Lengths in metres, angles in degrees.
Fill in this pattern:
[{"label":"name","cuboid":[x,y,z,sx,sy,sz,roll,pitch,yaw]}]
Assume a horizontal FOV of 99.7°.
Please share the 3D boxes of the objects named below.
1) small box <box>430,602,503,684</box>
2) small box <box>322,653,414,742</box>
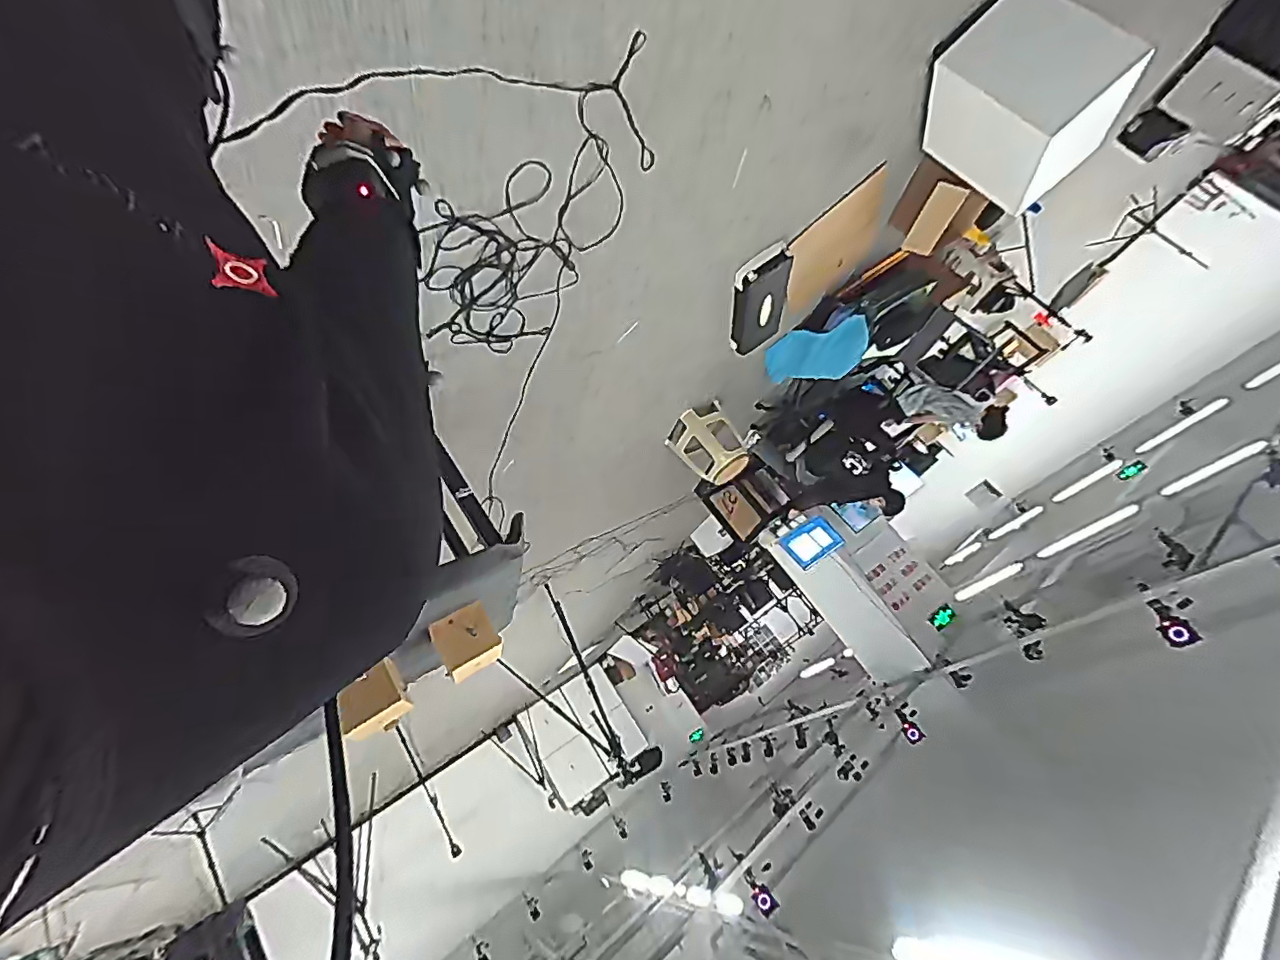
[{"label":"small box","cuboid":[-0.551,0.513,1.716,0.168,0.176,0.179,-27,159,-29]},{"label":"small box","cuboid":[-0.784,0.628,1.566,0.168,0.176,0.179,-31,160,-24]}]
